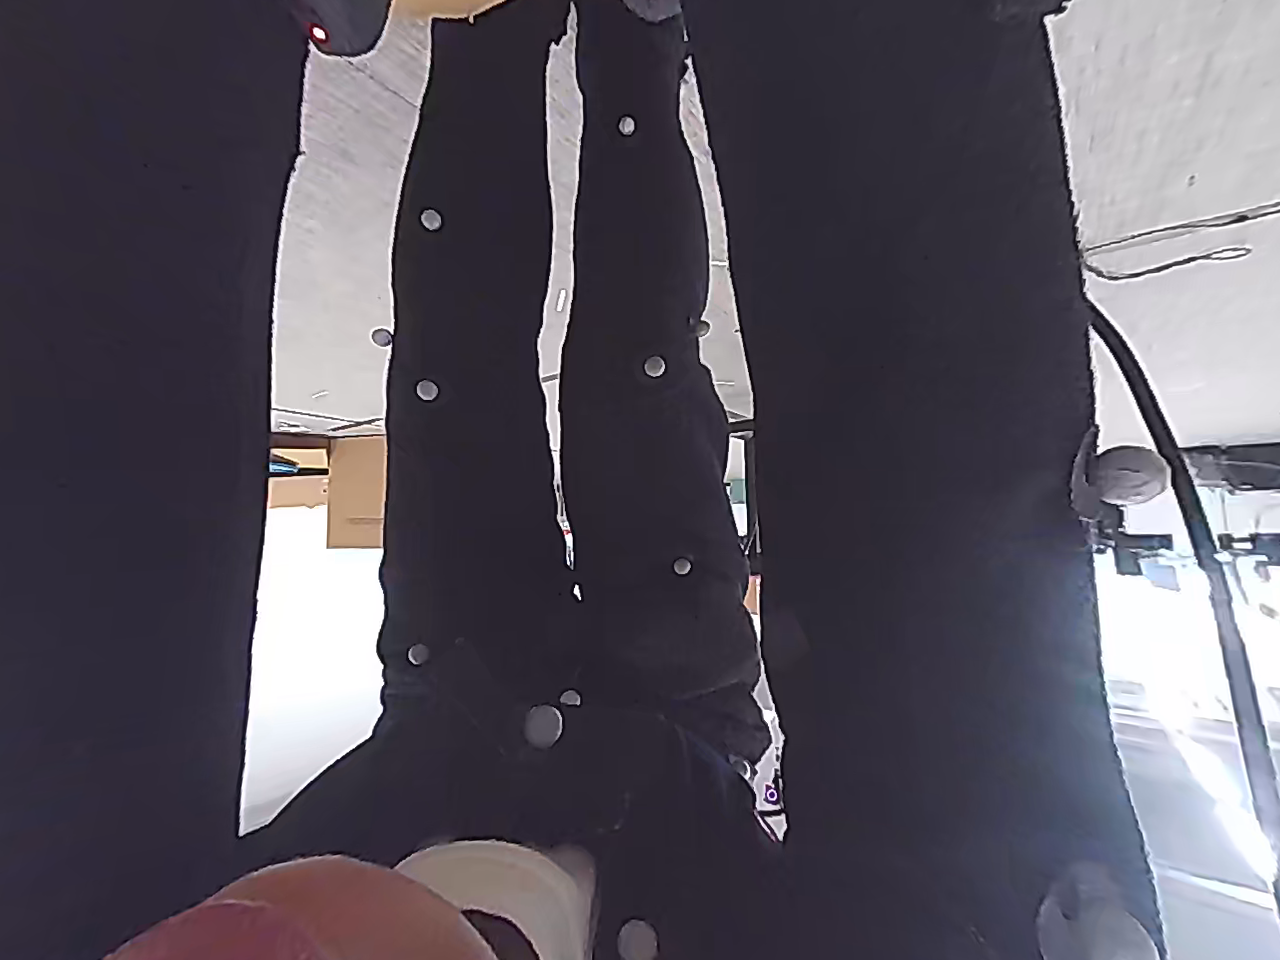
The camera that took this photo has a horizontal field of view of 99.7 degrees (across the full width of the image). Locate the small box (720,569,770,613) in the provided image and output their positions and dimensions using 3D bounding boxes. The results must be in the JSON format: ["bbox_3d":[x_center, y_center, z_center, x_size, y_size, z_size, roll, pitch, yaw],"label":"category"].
[{"bbox_3d":[0.464,0.489,2.398,0.179,0.176,0.168,-4,175,30],"label":"small box"}]
